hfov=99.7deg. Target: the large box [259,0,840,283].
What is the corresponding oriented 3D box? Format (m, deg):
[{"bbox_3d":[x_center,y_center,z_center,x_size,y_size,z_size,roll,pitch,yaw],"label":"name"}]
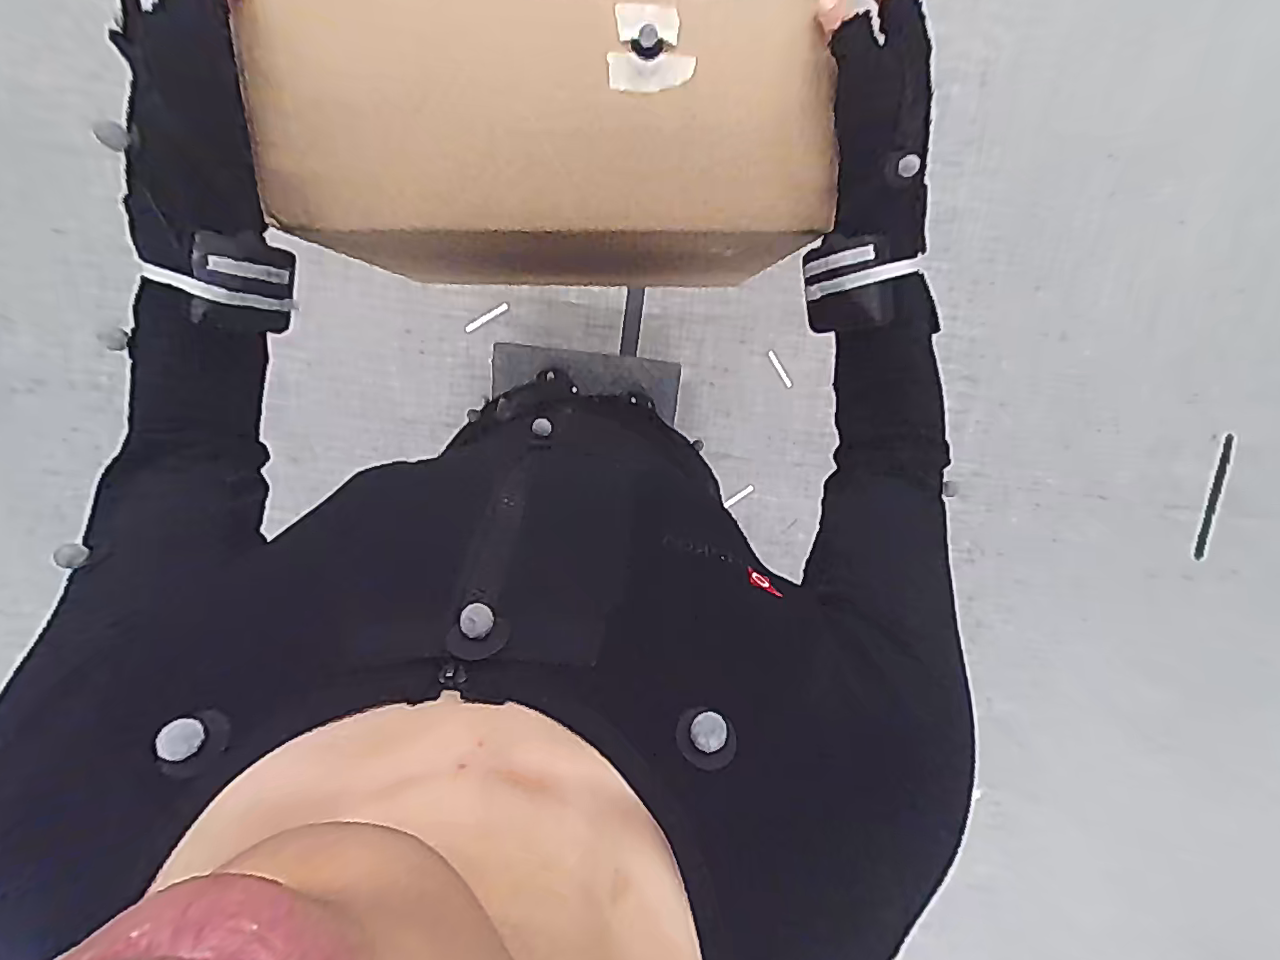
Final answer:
[{"bbox_3d":[-0.066,-0.373,0.513,0.408,0.320,0.320,-1,103,-3],"label":"large box"}]
